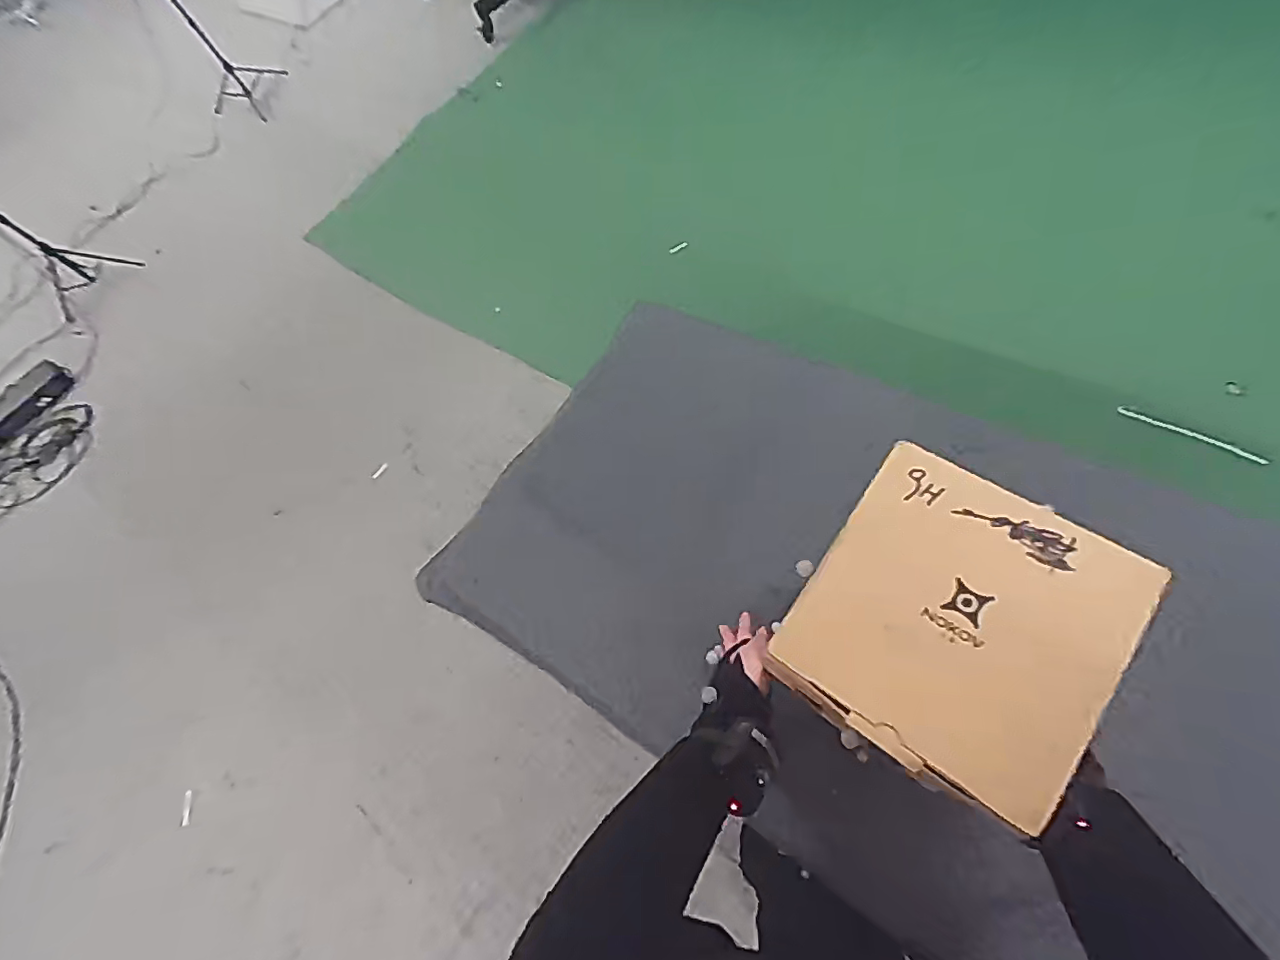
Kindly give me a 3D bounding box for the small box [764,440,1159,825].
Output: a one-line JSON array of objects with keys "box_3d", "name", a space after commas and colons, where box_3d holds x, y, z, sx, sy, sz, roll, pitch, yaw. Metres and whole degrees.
[{"box_3d": [0.211, 0.107, 0.407, 0.168, 0.176, 0.179, 33, 80, 22], "name": "small box"}]
